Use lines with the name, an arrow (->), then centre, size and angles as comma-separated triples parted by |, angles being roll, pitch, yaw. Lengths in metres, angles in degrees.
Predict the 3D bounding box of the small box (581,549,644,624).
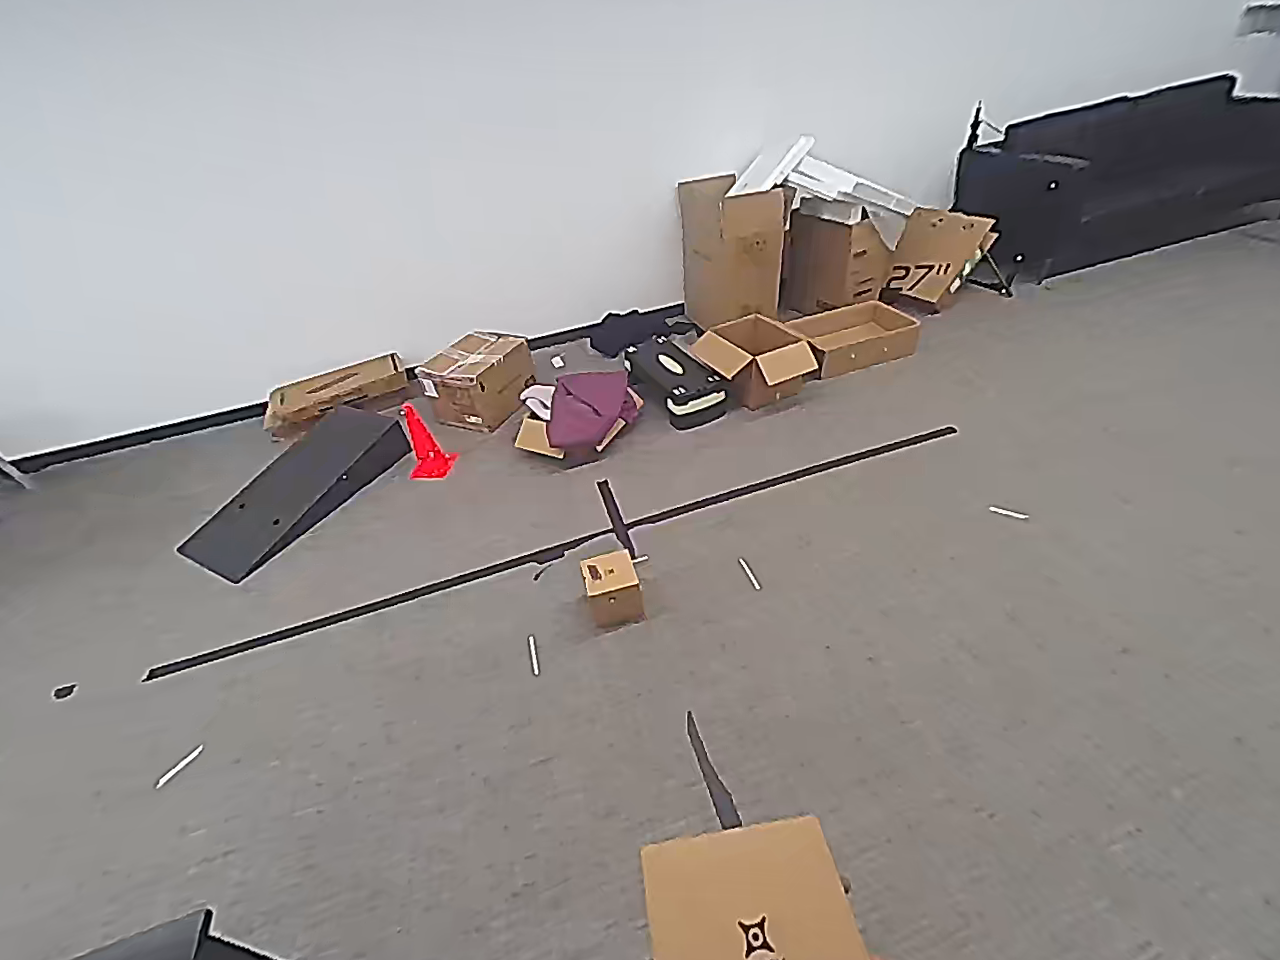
small box -> -0.094, 0.370, 1.863 | 0.179, 0.176, 0.168 | -14, 40, -7

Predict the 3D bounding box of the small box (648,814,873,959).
small box -> 0.101, 0.431, 0.469 | 0.168, 0.176, 0.179 | -8, 36, -3
